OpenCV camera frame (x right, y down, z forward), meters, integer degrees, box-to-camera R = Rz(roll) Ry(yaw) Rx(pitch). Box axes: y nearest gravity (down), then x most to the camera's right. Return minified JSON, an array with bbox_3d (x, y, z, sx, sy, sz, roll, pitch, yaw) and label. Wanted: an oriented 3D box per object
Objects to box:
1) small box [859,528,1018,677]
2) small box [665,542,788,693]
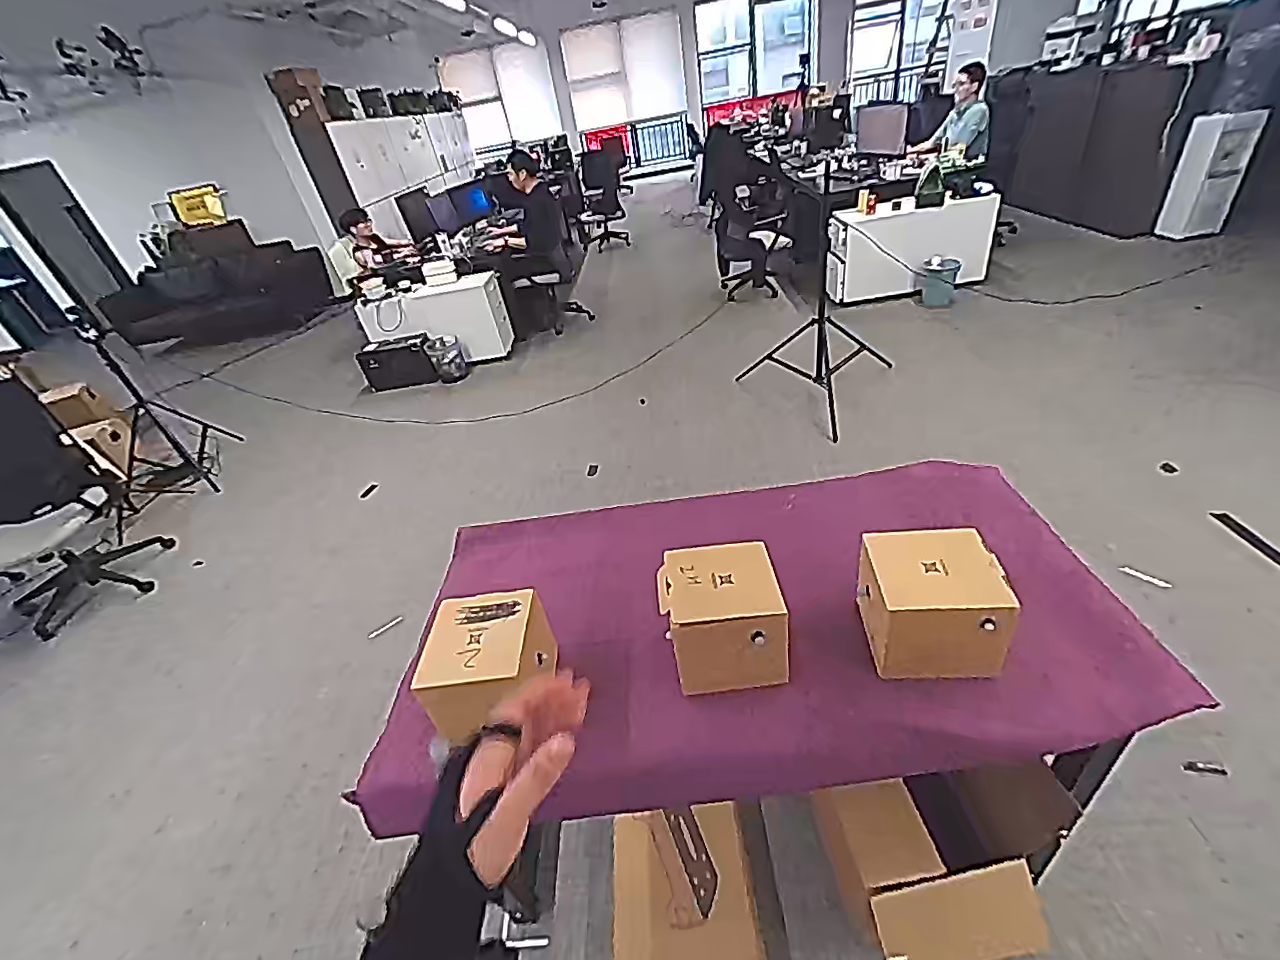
[{"bbox_3d":[0.455,0.196,0.860,0.179,0.176,0.168,-4,35,10],"label":"small box"},{"bbox_3d":[0.141,0.229,0.900,0.179,0.176,0.168,-9,32,4],"label":"small box"}]
